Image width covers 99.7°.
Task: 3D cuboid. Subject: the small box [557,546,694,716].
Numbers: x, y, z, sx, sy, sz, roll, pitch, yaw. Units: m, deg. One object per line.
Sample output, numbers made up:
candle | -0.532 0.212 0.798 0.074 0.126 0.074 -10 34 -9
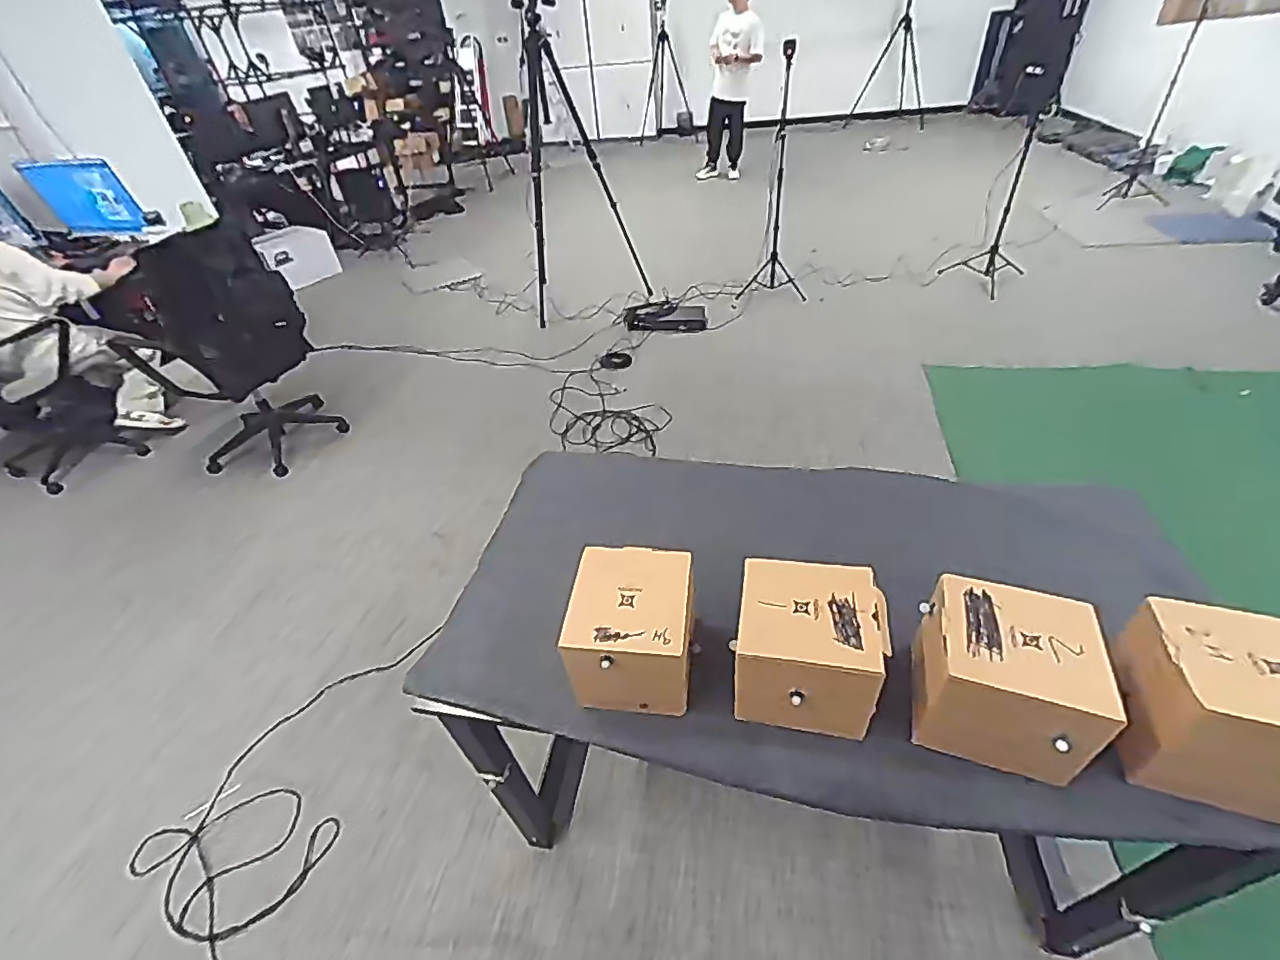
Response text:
small box | -0.009 0.221 0.806 0.168 0.176 0.179 1 41 11
